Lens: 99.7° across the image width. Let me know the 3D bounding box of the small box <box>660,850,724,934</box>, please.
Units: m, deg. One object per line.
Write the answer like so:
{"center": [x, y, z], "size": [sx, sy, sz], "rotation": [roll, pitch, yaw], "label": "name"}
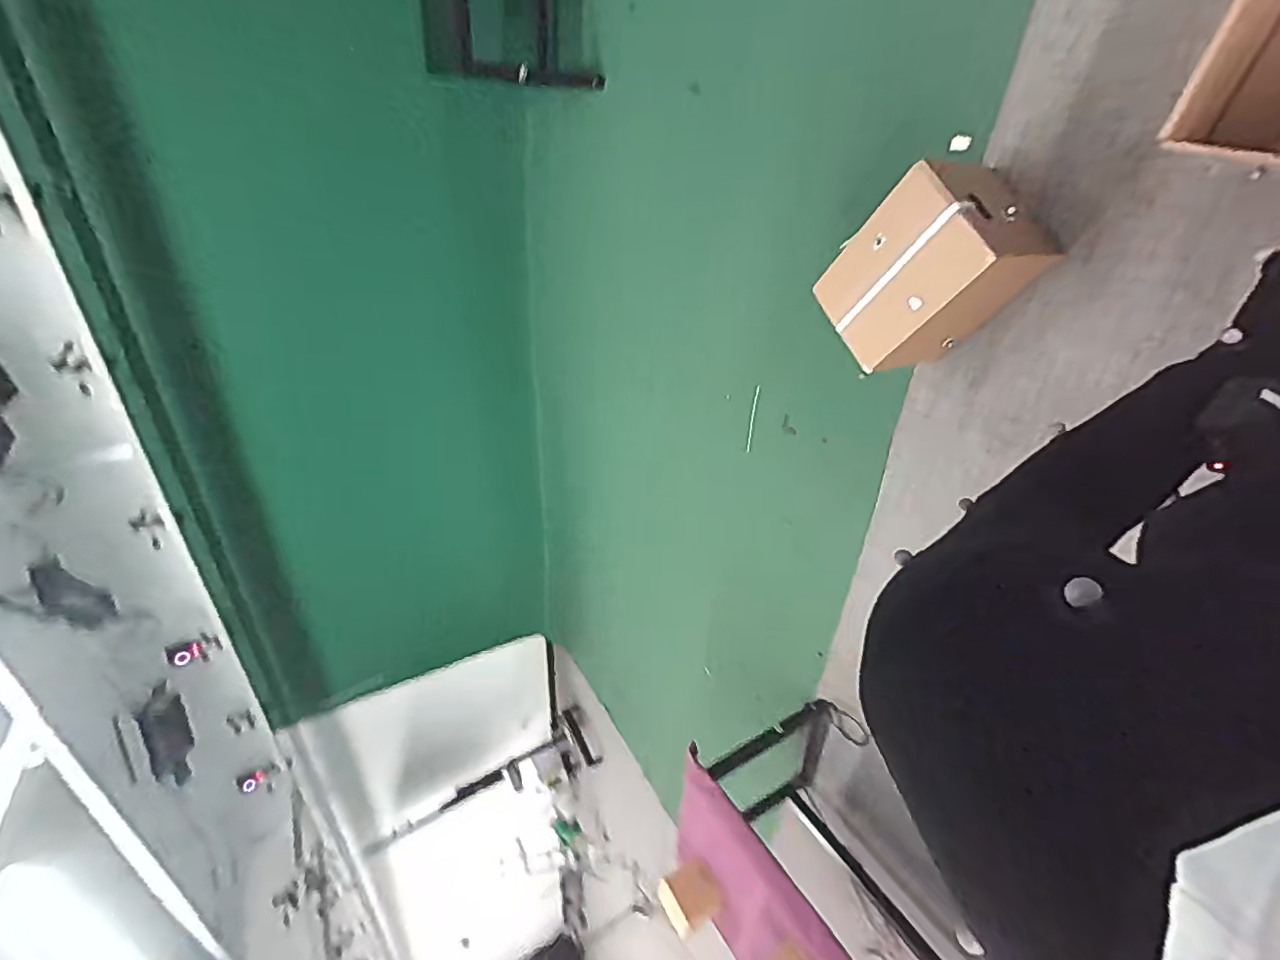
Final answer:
{"center": [0.199, 1.574, 2.071], "size": [0.168, 0.176, 0.179], "rotation": [44, 138, 42], "label": "small box"}
